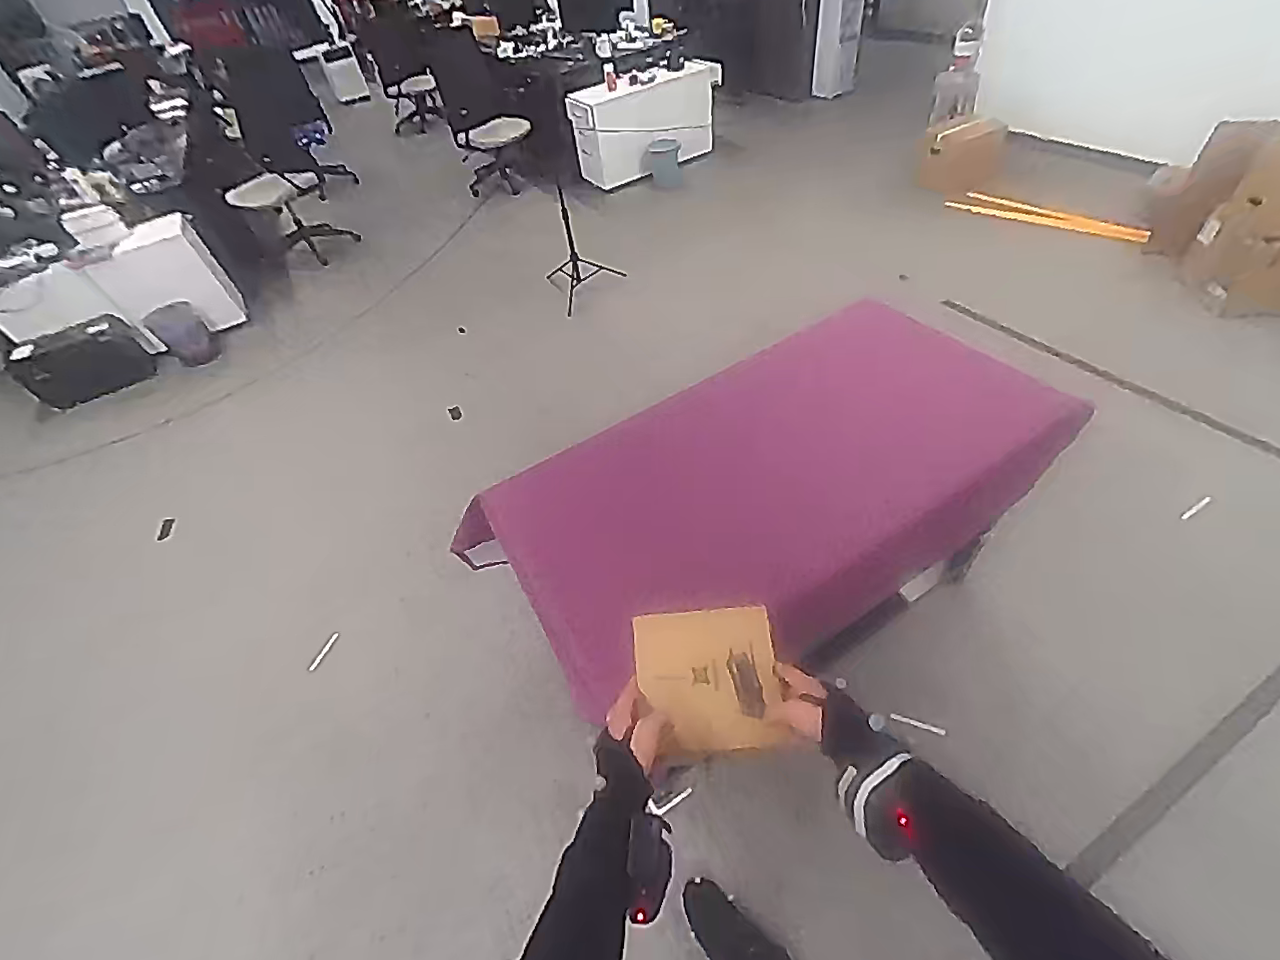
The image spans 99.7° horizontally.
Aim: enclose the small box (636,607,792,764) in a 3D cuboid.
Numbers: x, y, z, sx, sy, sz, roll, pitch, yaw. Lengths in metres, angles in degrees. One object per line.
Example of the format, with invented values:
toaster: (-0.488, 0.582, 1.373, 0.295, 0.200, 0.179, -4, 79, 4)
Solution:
small box: (0.089, 0.281, 0.730, 0.179, 0.176, 0.168, -5, 57, 1)
